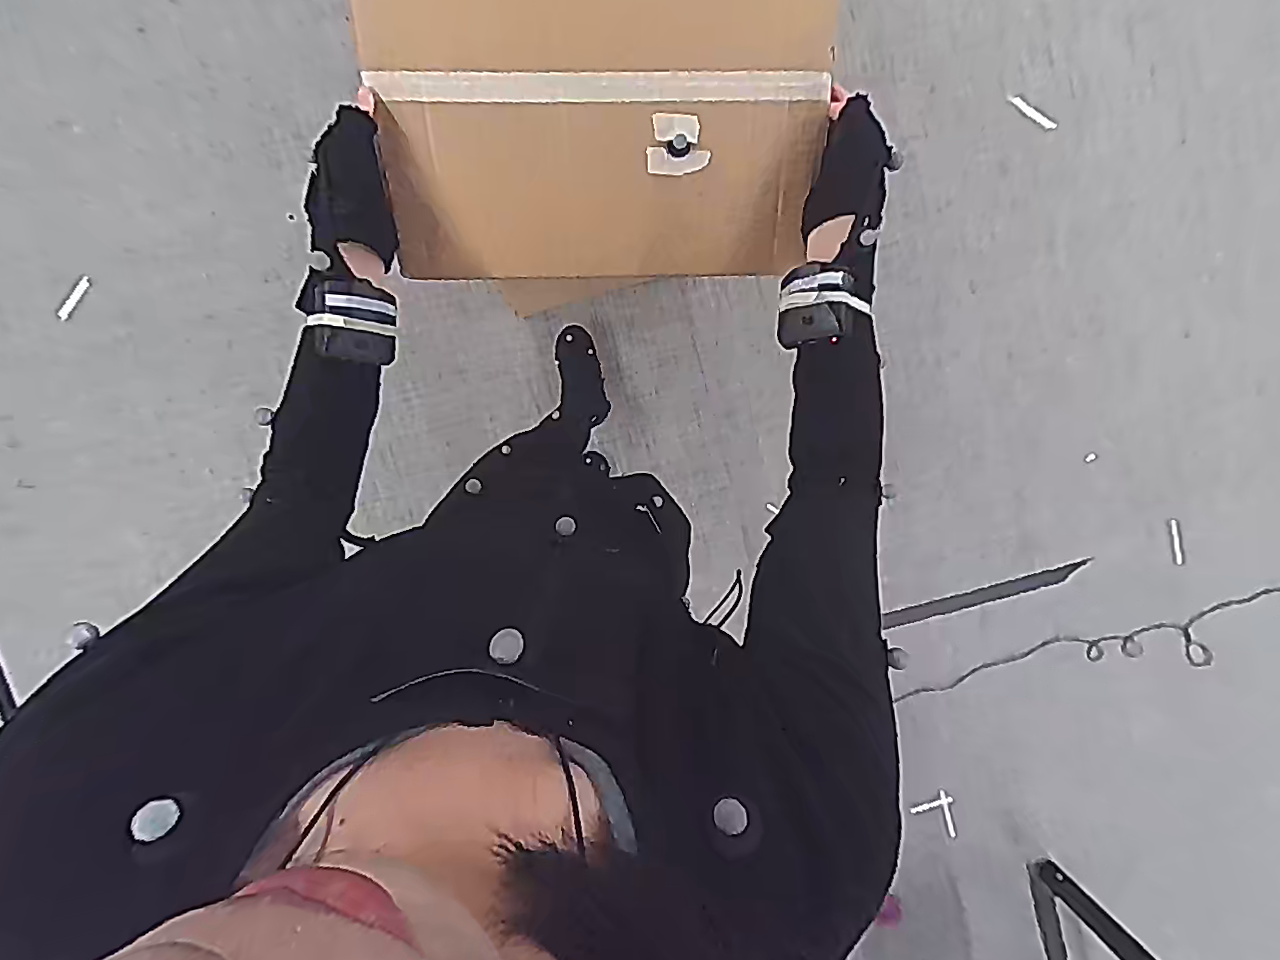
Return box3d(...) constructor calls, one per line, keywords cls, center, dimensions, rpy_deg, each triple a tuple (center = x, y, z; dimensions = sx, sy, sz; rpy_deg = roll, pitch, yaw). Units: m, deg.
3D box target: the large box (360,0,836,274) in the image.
box3d(cls="large box", center=(-0.043, -0.413, 0.606), dimensions=(0.408, 0.320, 0.320), rpy_deg=(-3, 115, -4))
